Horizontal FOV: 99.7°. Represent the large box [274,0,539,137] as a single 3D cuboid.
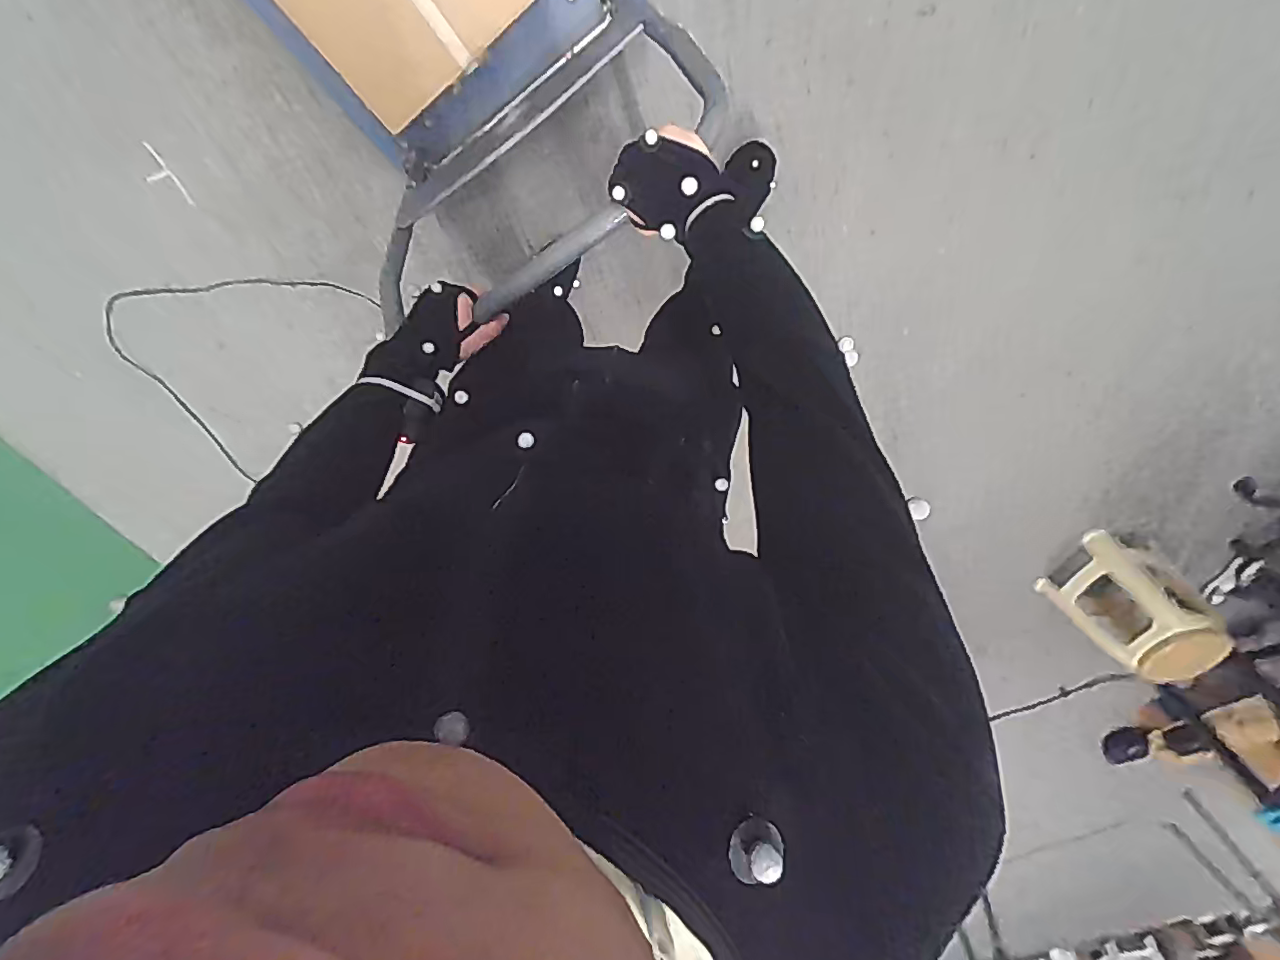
[{"bbox_3d":[-0.376,-0.810,0.775,0.320,0.320,0.408,-31,132,18],"label":"large box"}]
